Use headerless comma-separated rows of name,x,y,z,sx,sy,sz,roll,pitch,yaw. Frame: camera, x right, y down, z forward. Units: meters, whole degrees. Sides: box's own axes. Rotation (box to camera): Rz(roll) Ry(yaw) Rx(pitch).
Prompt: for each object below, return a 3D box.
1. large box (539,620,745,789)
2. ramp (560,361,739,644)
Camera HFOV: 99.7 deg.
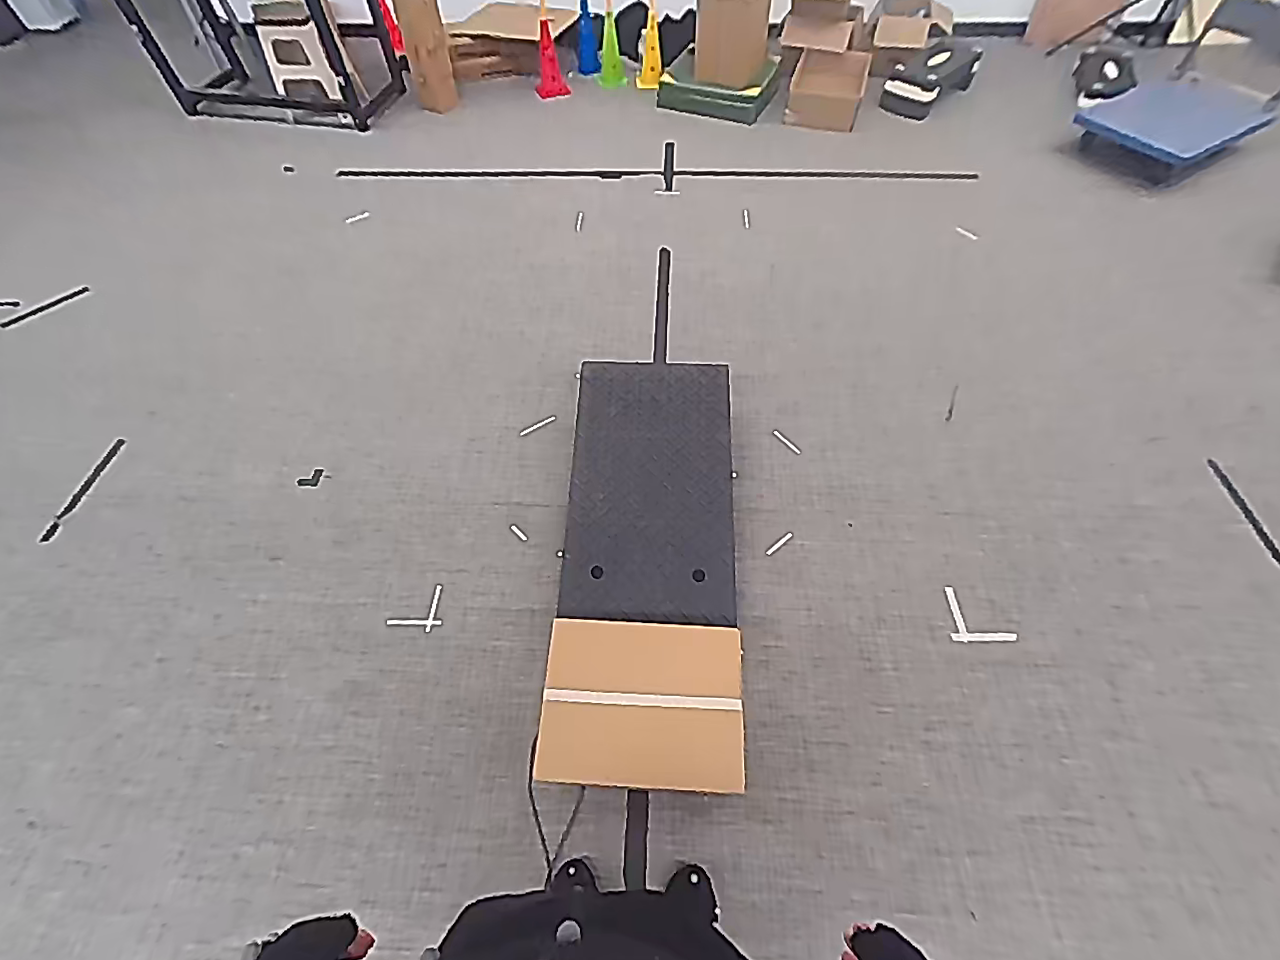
large box,0.013,0.518,1.234,0.408,0.320,0.320,2,60,2
ramp,0.038,0.067,1.614,0.509,0.206,0.991,1,57,0
